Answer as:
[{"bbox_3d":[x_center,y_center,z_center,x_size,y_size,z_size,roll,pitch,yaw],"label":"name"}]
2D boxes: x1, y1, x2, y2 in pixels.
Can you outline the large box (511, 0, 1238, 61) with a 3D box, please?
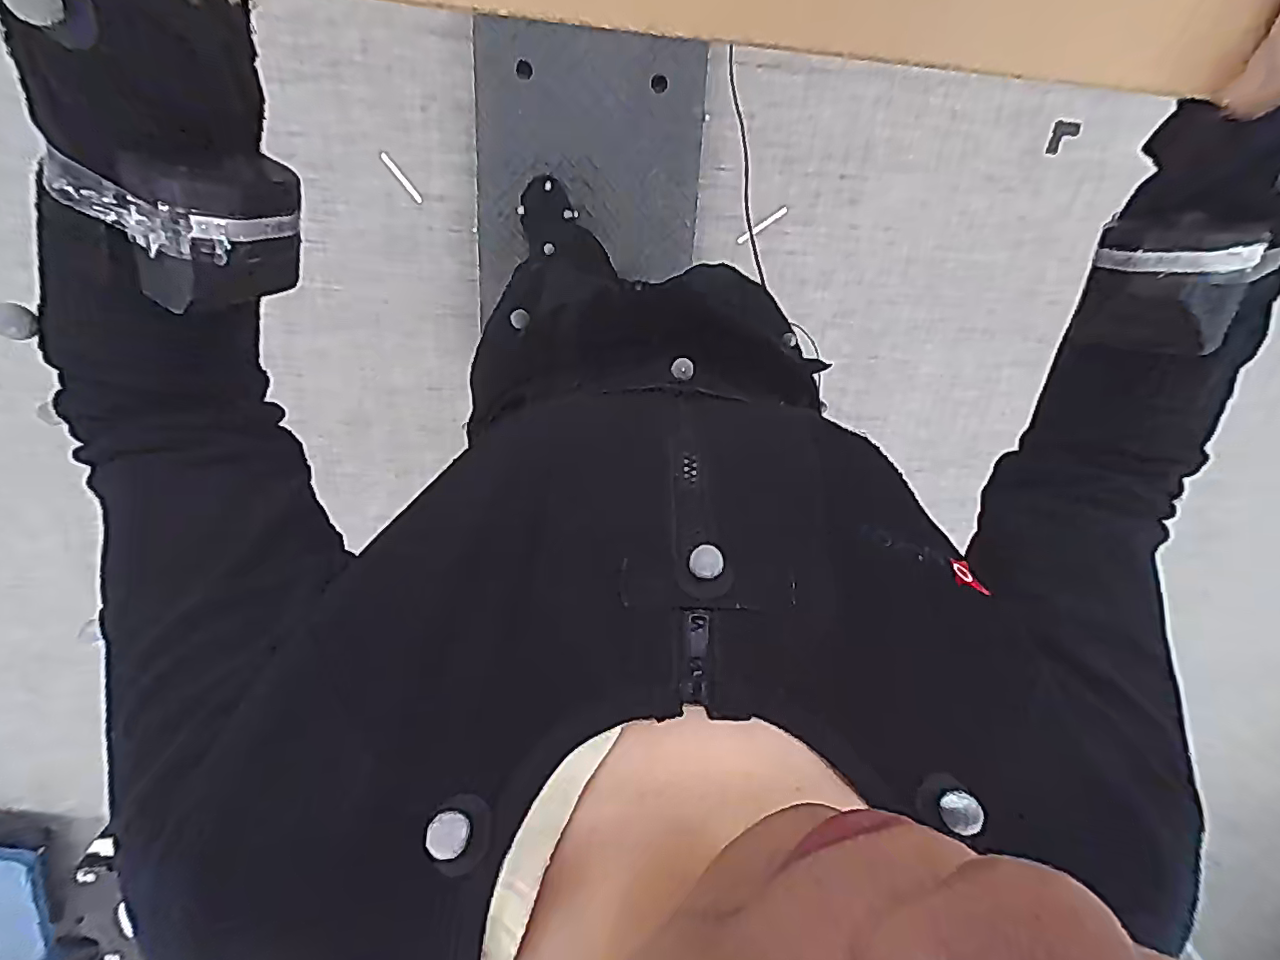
[{"bbox_3d":[0.055,-0.402,0.214,0.408,0.320,0.320,2,137,-7],"label":"large box"}]
